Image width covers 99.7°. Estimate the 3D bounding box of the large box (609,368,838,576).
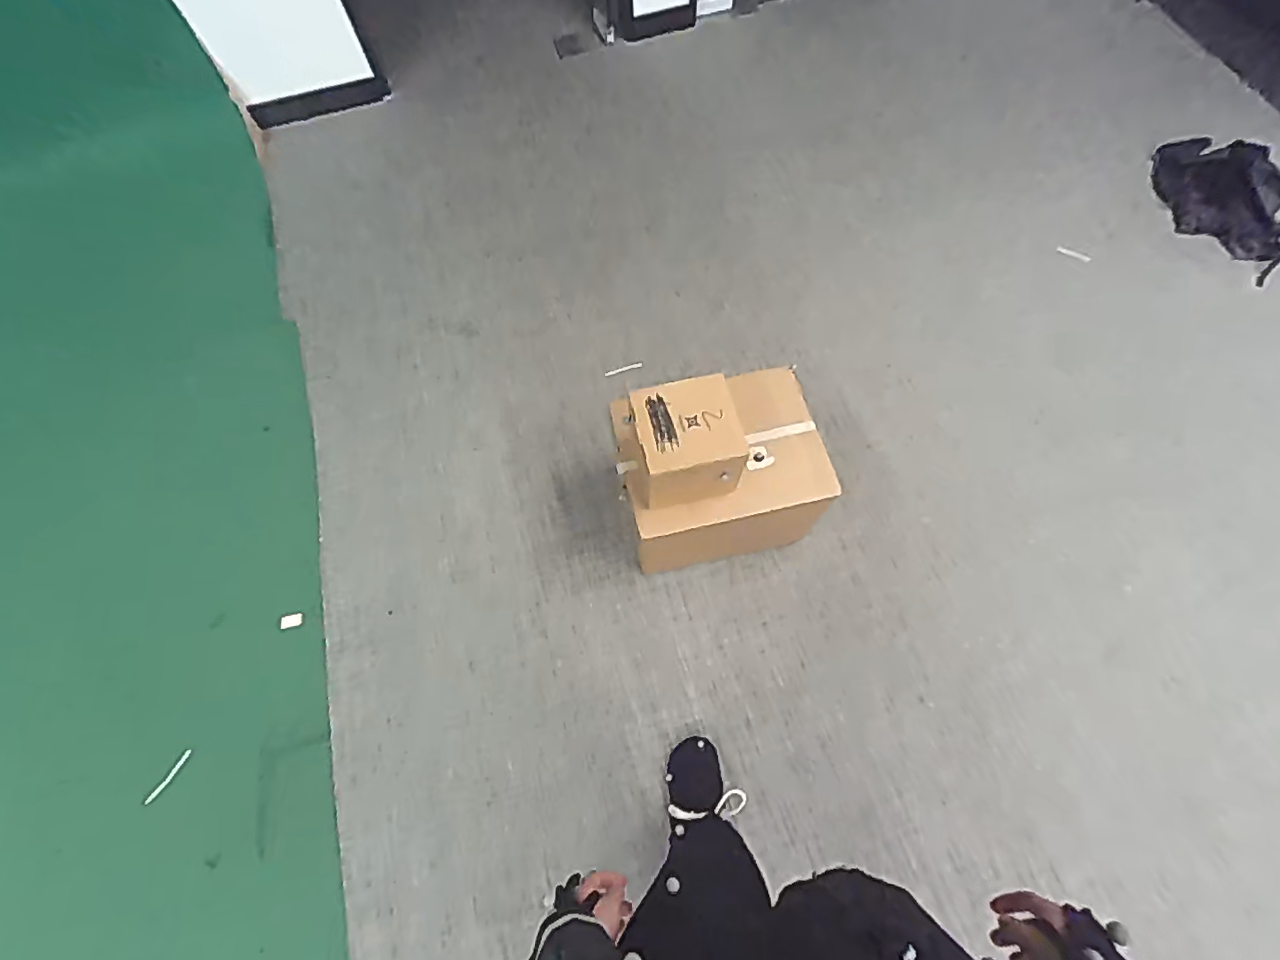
[{"bbox_3d":[0.162,-0.005,1.229,0.408,0.320,0.320,-12,68,-5],"label":"large box"}]
